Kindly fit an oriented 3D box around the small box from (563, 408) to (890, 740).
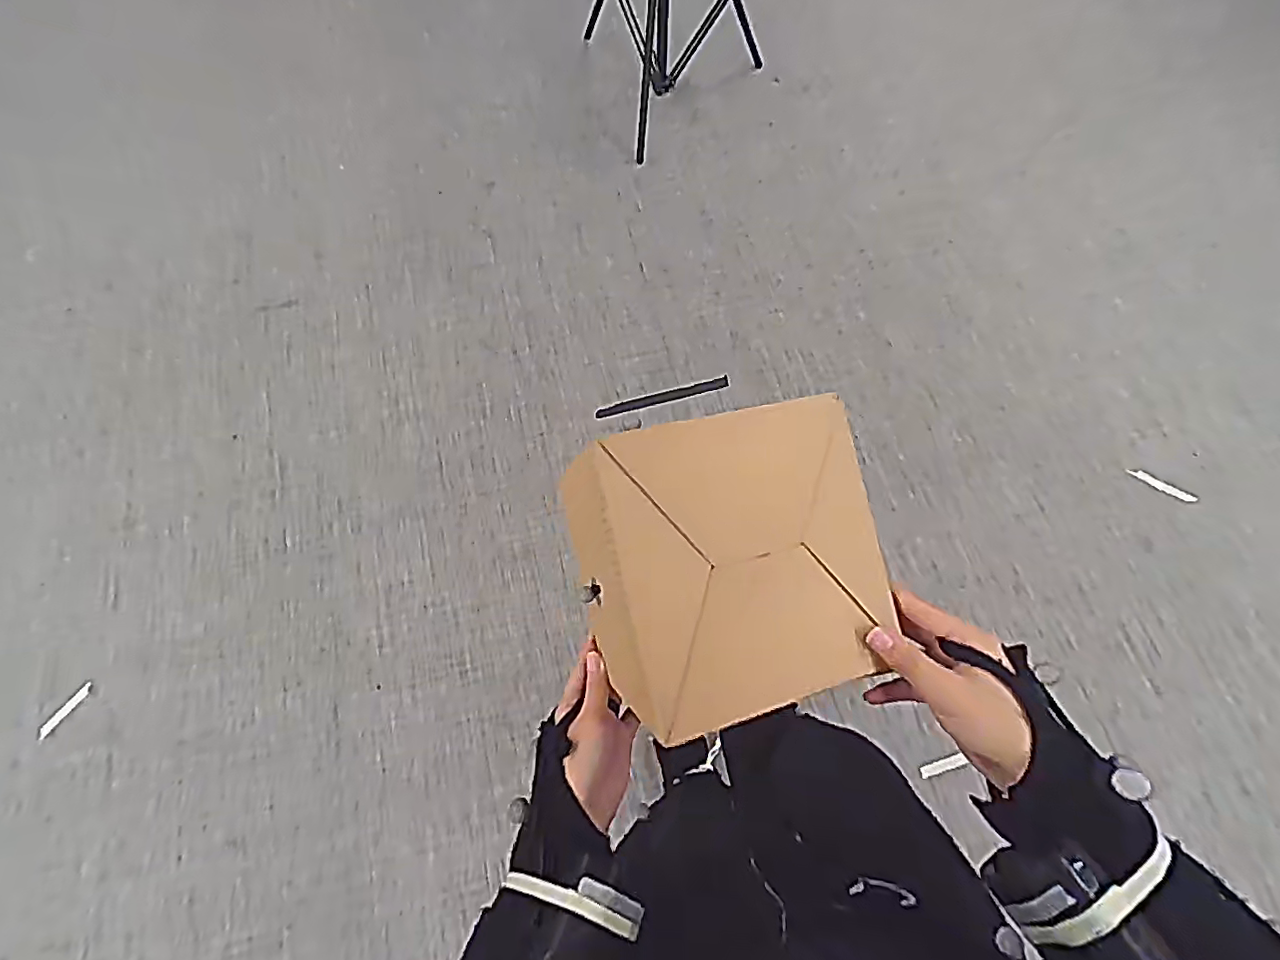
[{"bbox_3d":[0.051,0.055,0.399,0.168,0.176,0.179,-12,87,-17],"label":"small box"}]
